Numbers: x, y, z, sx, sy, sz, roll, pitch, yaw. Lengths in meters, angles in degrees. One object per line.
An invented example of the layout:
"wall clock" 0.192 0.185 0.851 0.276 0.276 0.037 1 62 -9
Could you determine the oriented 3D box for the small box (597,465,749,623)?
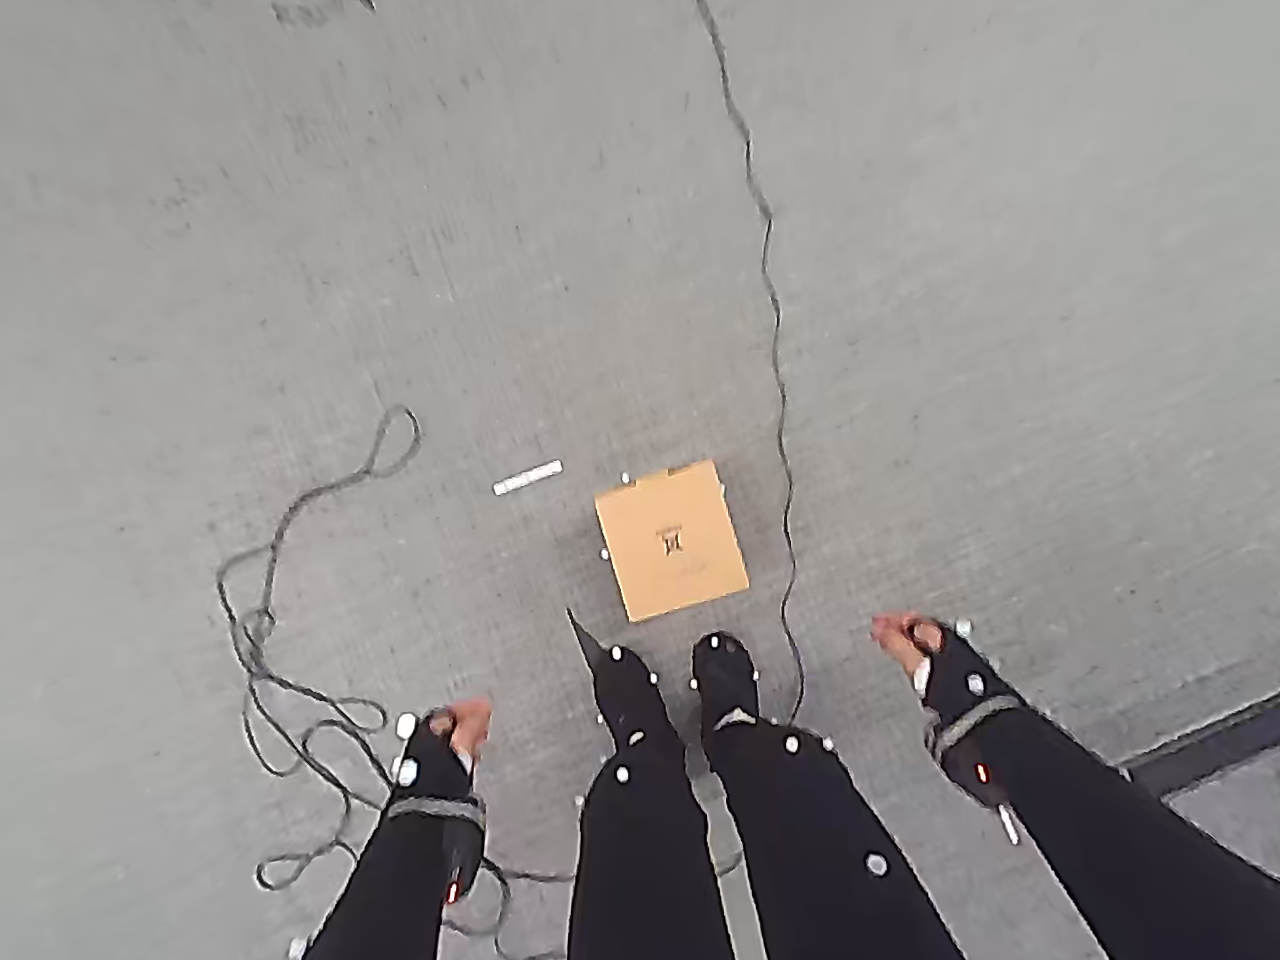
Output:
"small box" 0.043 0.086 0.793 0.168 0.176 0.179 -17 89 1
